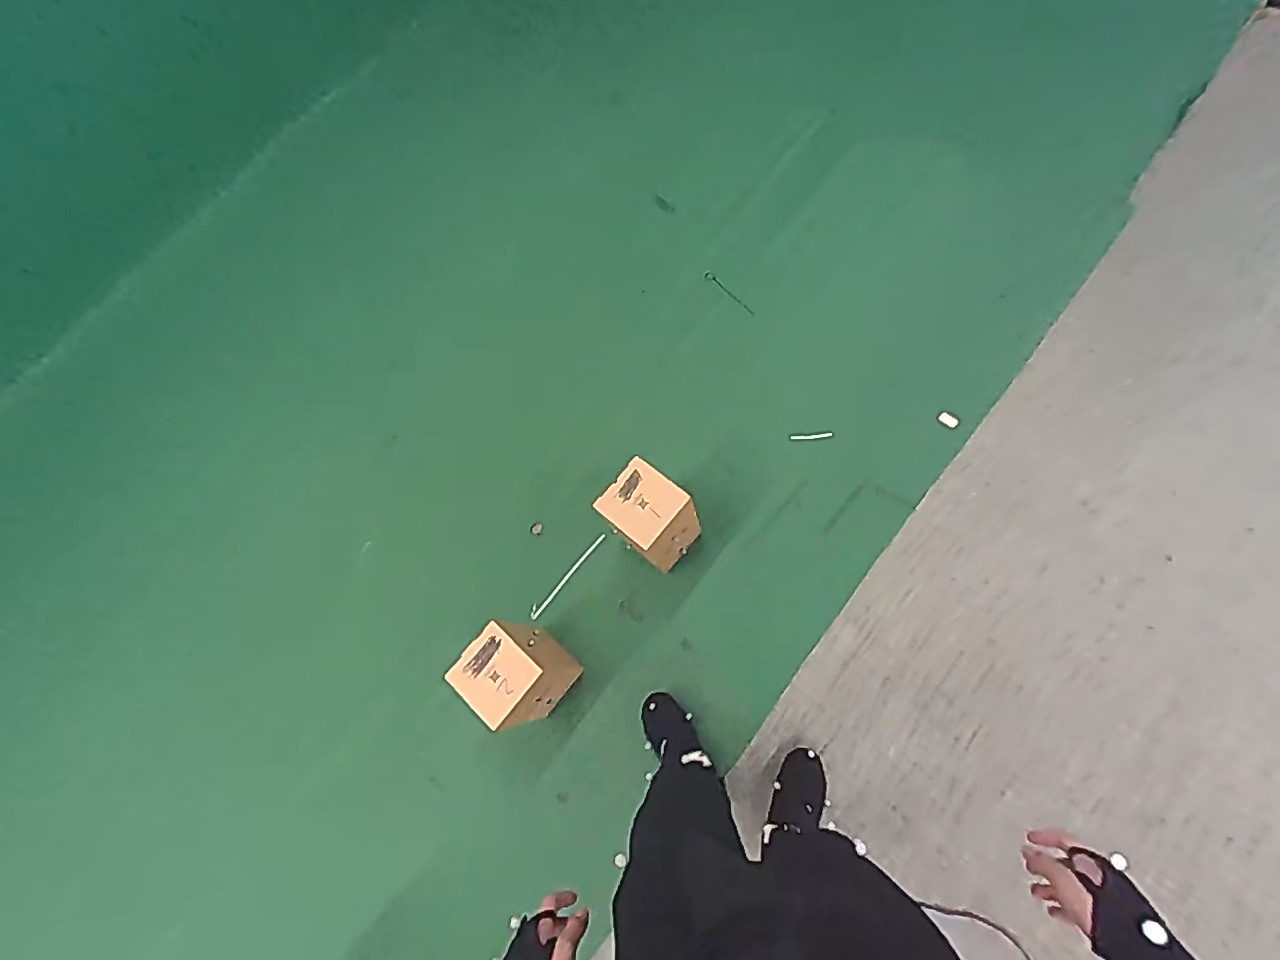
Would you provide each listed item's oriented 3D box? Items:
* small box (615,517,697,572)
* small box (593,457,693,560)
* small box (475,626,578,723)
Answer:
[{"bbox_3d":[0.040,0.134,1.494,0.179,0.176,0.168,39,81,20],"label":"small box"},{"bbox_3d":[0.014,0.078,1.342,0.179,0.176,0.168,38,81,19],"label":"small box"},{"bbox_3d":[-0.289,0.508,1.425,0.179,0.176,0.168,37,81,20],"label":"small box"}]
